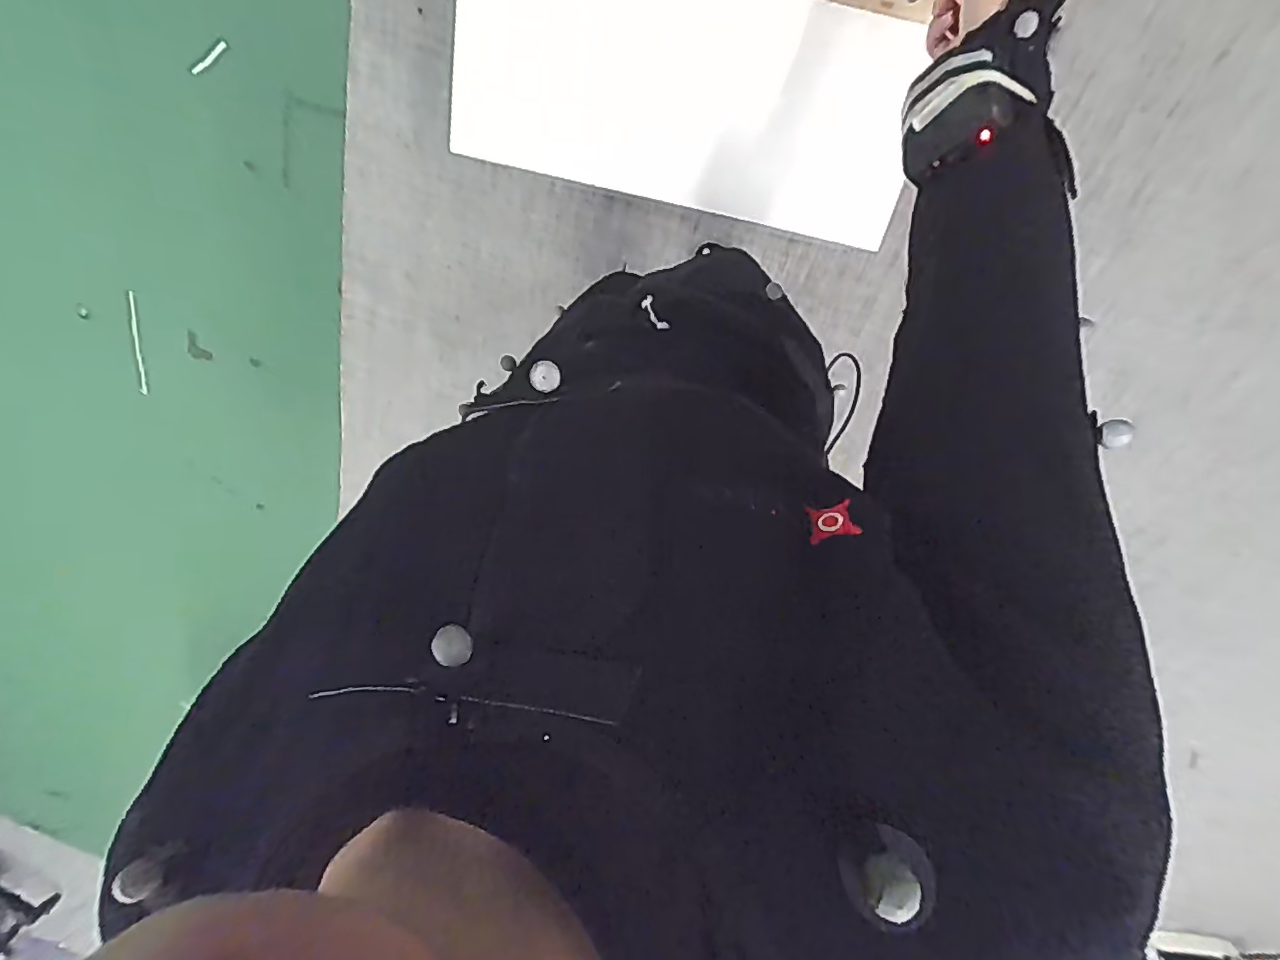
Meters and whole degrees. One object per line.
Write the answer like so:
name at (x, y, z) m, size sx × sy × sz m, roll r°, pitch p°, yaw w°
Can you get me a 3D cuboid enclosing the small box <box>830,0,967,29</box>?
small box at (0.214, -0.483, 0.405) m, size 0.168 × 0.176 × 0.179 m, roll 18°, pitch 116°, yaw 4°
